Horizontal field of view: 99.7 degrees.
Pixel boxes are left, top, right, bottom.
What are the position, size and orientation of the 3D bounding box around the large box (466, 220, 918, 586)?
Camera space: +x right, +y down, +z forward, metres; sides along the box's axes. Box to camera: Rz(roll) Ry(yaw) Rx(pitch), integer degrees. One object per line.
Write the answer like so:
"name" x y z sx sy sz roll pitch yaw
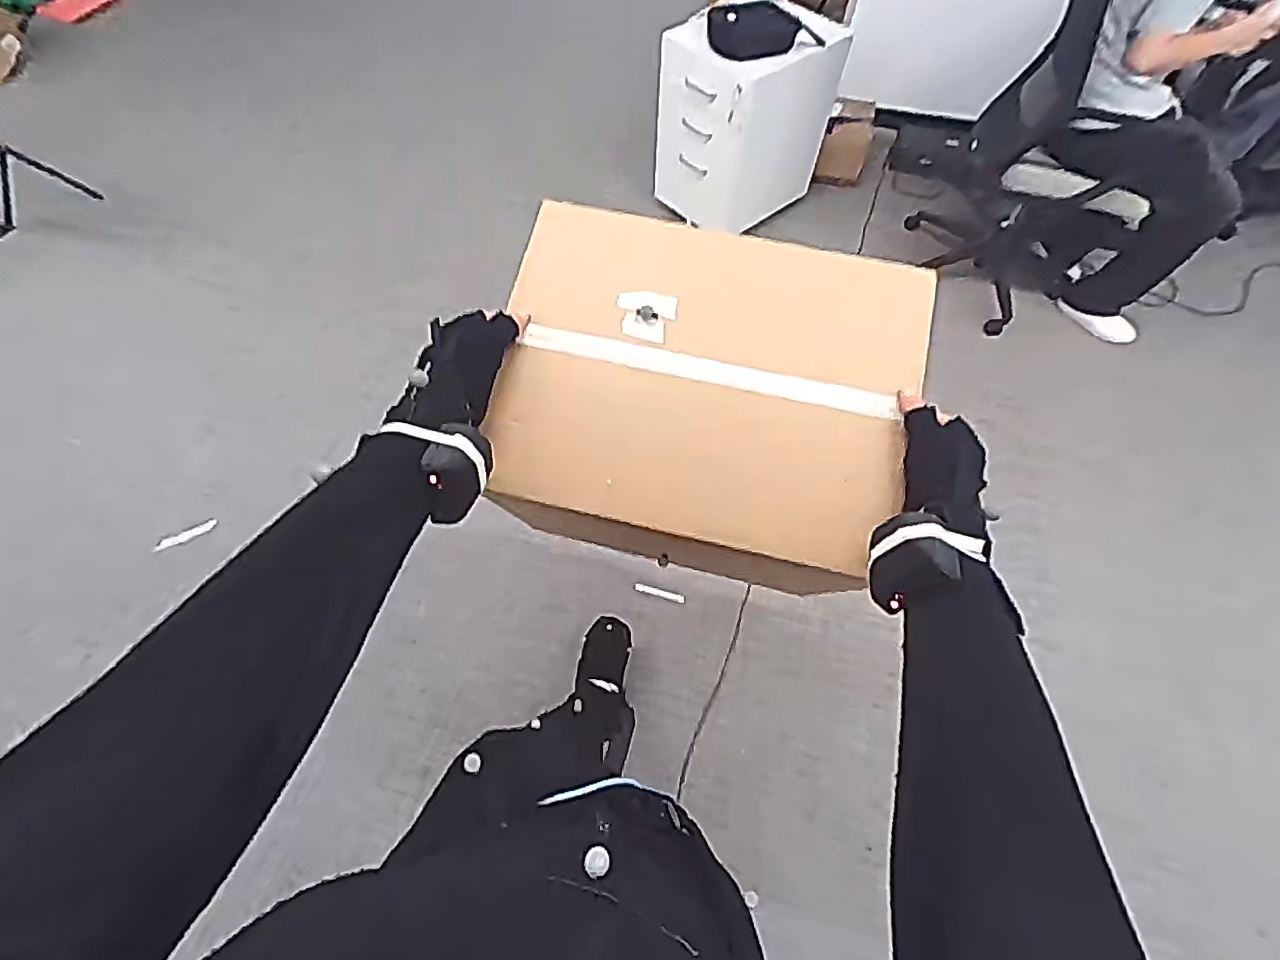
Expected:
"large box" 0.067 -0.065 0.680 0.408 0.320 0.320 13 76 7
